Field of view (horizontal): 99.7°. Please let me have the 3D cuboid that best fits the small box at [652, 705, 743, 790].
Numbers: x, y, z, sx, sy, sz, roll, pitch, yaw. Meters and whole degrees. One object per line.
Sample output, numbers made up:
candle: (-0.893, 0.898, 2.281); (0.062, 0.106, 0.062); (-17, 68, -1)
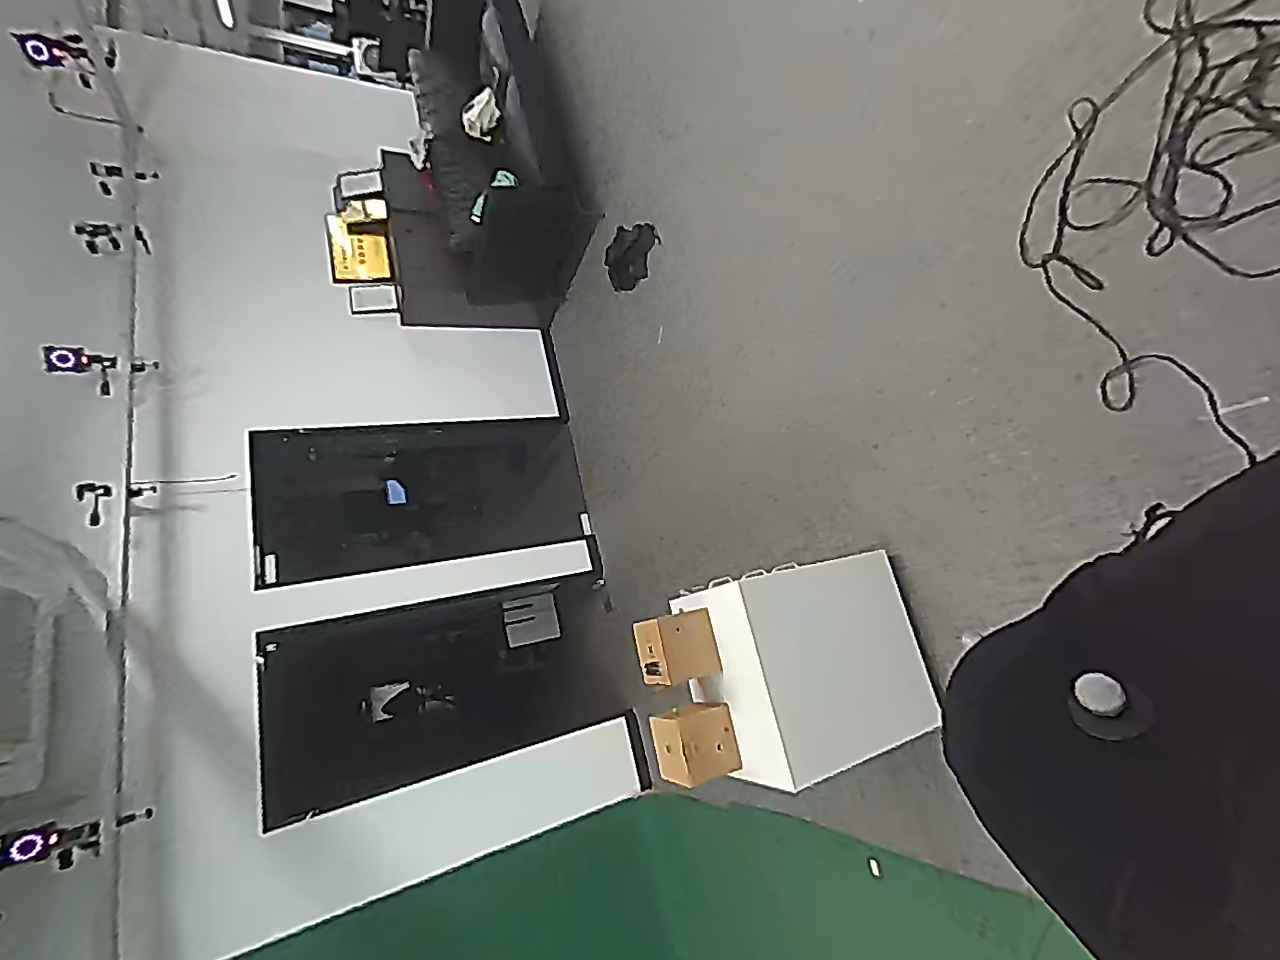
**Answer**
small box: (0.157, 0.727, 1.491); (0.179, 0.176, 0.168); (-38, 60, 58)
